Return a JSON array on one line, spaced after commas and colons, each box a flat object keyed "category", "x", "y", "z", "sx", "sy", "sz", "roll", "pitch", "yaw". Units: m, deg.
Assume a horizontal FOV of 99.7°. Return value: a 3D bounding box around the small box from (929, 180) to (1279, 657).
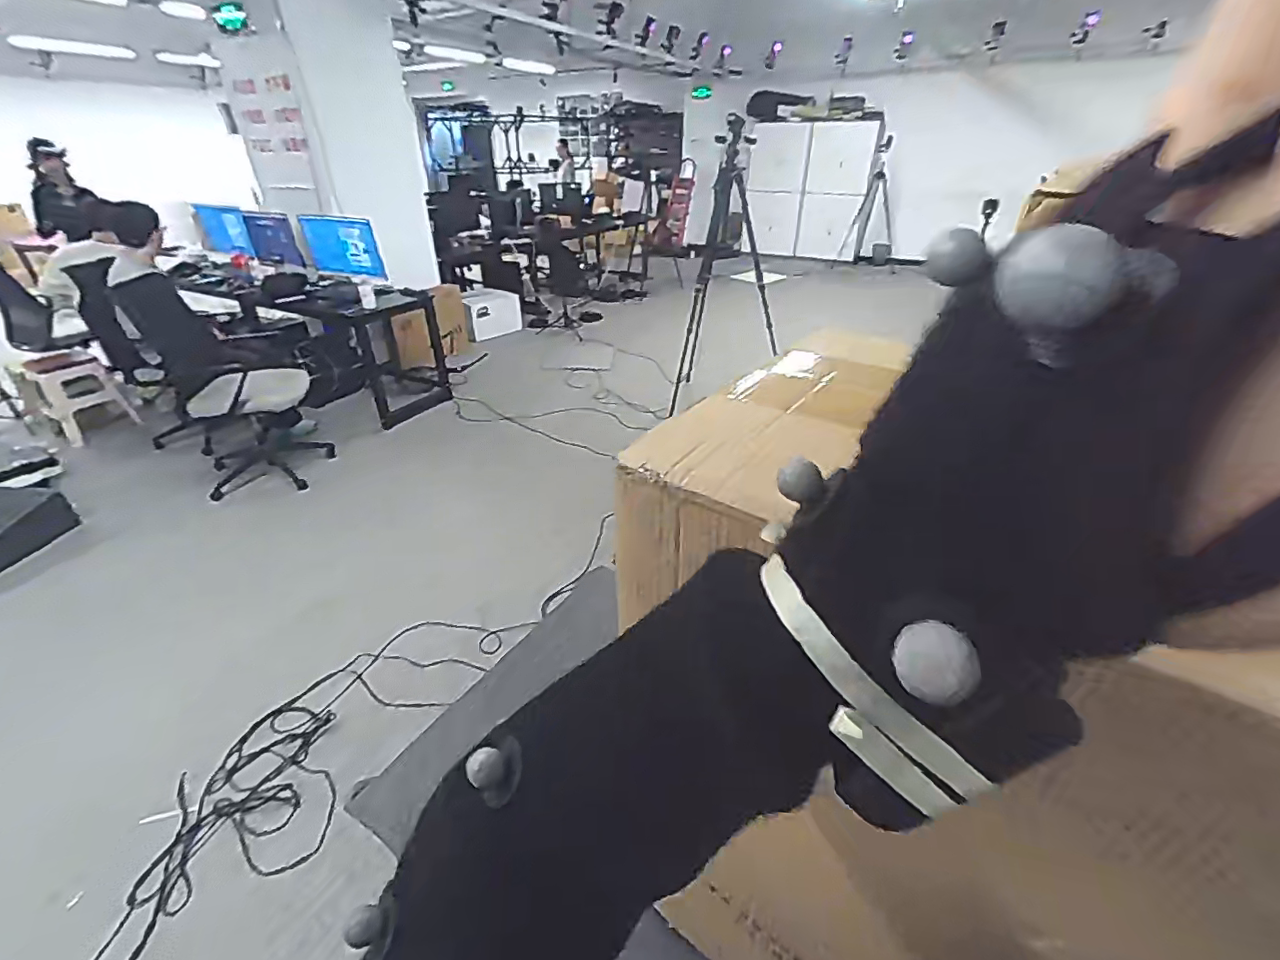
[{"category": "small box", "x": 0.274, "y": -0.043, "z": 0.270, "sx": 0.179, "sy": 0.176, "sz": 0.168, "roll": 20, "pitch": 39, "yaw": 31}]
